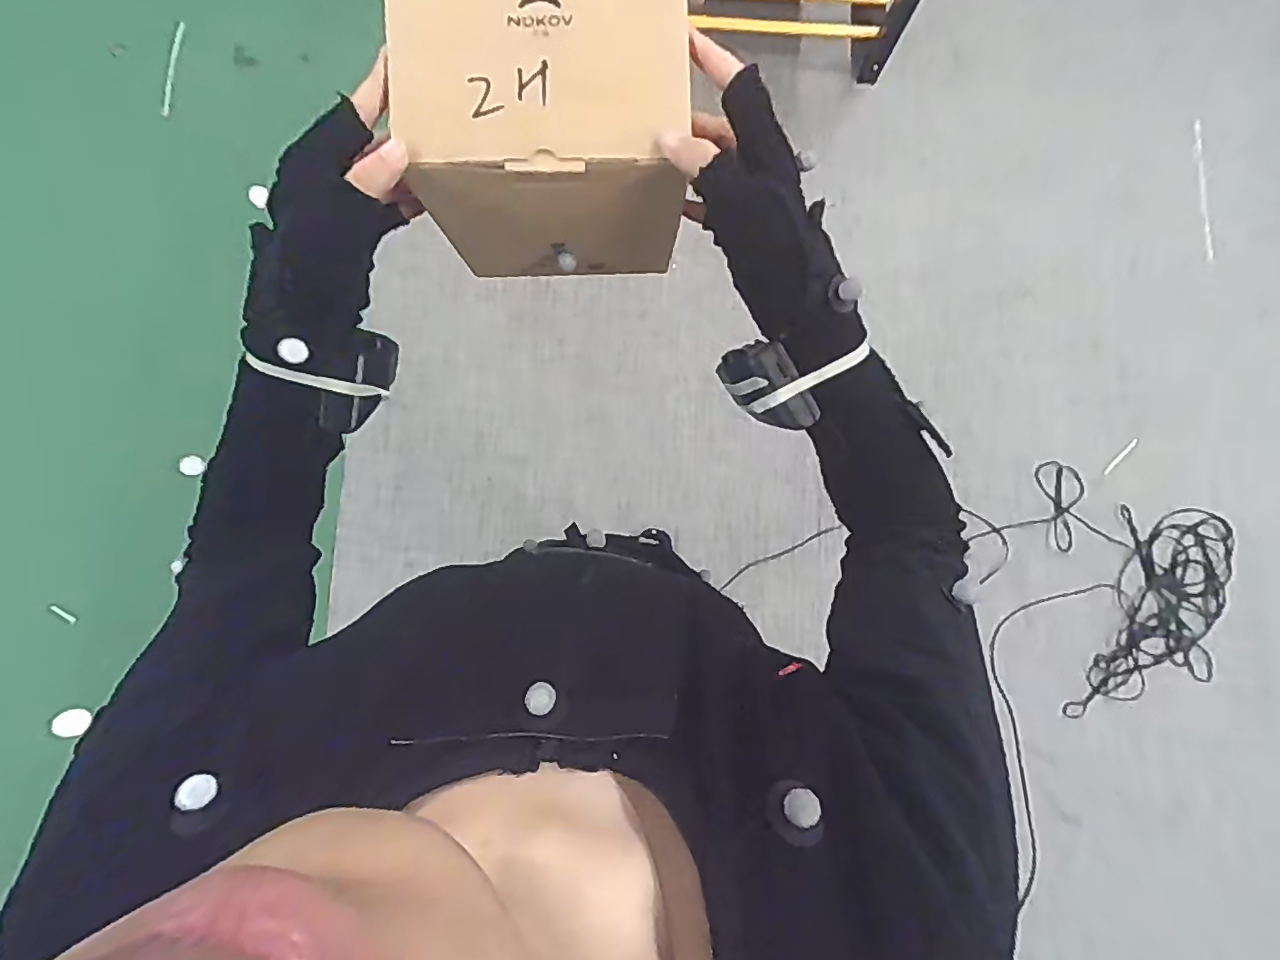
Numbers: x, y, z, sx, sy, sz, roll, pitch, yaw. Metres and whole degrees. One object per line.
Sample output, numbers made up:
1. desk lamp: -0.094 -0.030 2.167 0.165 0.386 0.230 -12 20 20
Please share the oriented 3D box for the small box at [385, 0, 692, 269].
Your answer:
1. small box: -0.057 -0.266 0.371 0.168 0.176 0.179 -1 89 -2
